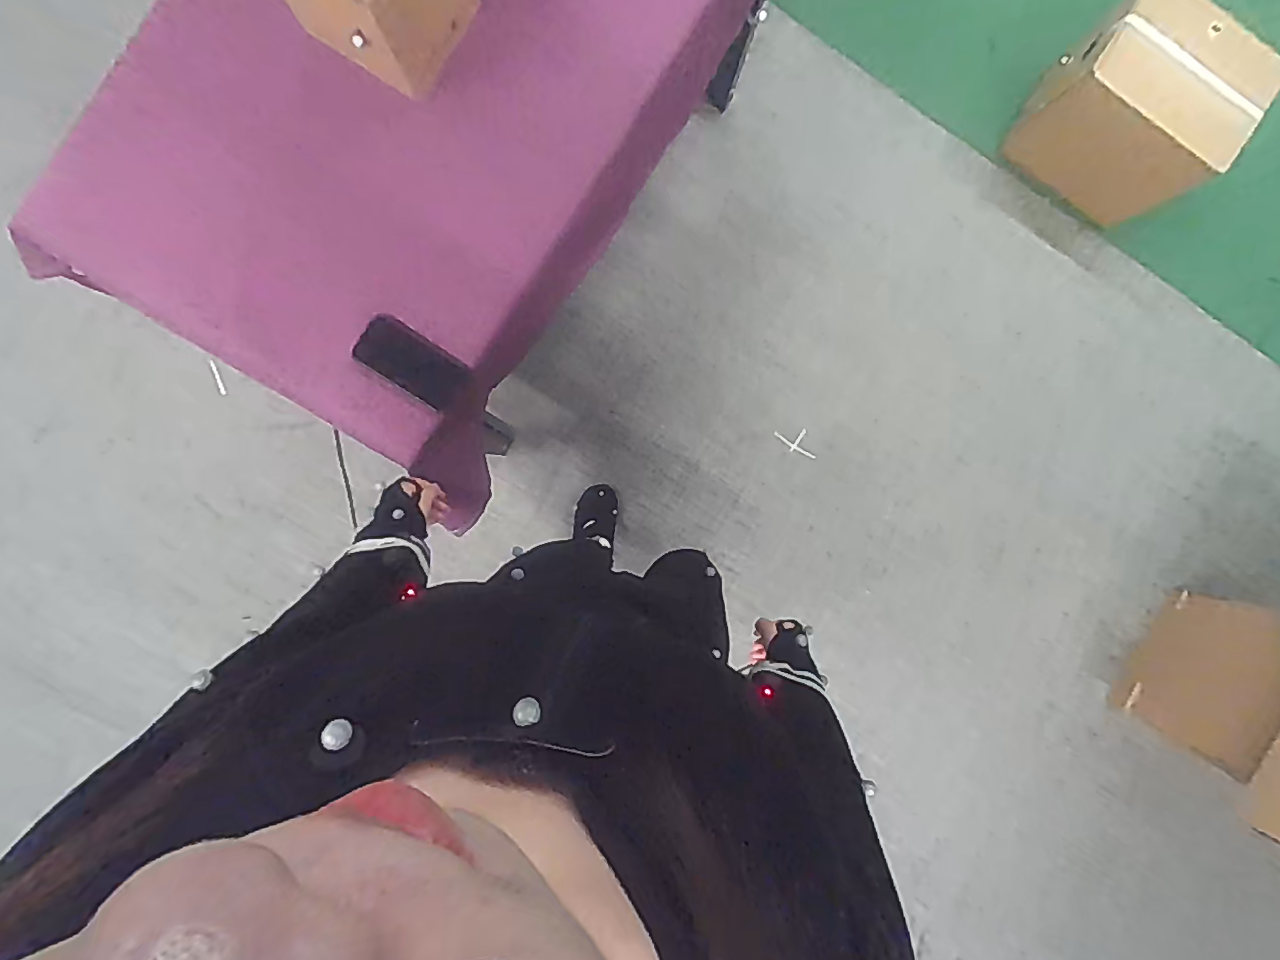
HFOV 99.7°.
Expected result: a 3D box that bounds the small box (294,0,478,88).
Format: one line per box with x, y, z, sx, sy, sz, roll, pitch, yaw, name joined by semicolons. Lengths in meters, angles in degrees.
-0.323;-0.630;0.655;0.179;0.176;0.168;32;89;-3;small box
